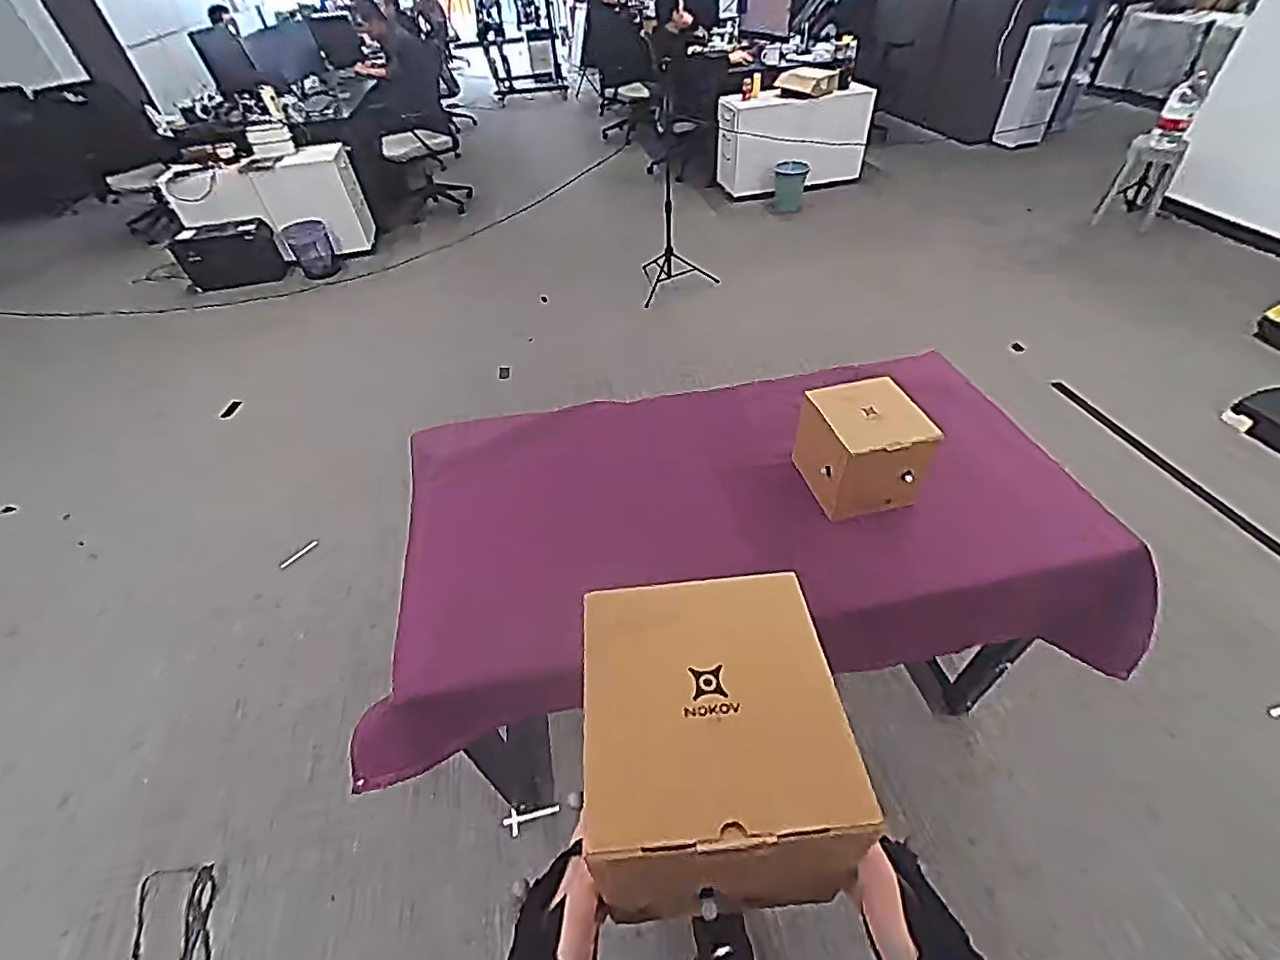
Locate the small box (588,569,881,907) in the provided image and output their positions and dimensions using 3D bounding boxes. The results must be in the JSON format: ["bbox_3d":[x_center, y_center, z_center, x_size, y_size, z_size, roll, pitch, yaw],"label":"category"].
[{"bbox_3d":[0.050,0.193,0.412,0.168,0.176,0.179,-6,43,-1],"label":"small box"}]

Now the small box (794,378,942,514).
[{"bbox_3d":[0.394,-0.055,0.970,0.168,0.176,0.179,-11,45,-6],"label":"small box"}]
